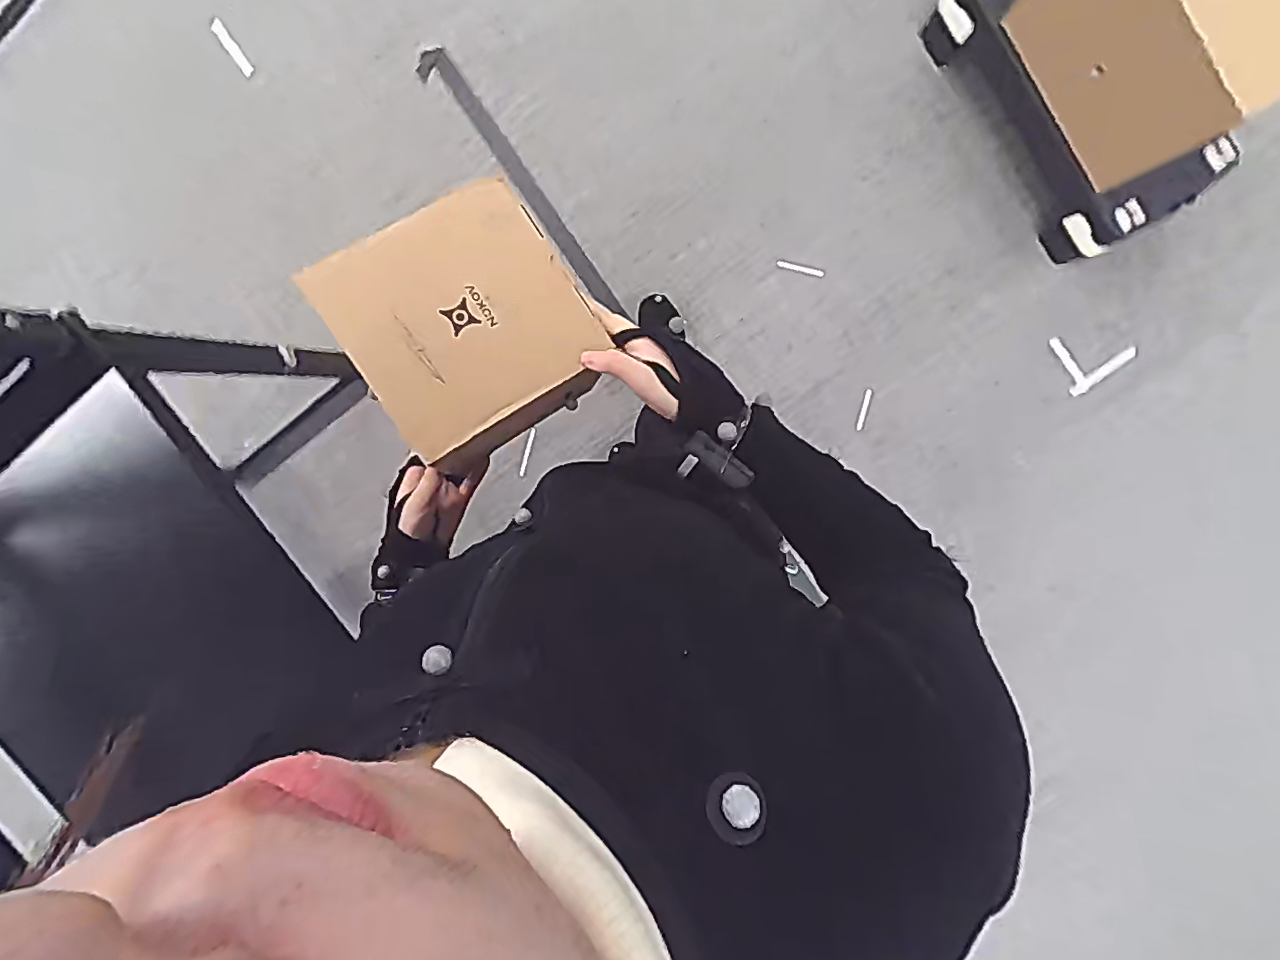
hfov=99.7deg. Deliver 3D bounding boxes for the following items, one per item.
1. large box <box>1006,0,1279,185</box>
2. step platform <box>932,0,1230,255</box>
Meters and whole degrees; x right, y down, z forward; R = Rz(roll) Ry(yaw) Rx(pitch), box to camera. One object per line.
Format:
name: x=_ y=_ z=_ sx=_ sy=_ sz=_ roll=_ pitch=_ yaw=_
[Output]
large box: x=0.949 y=-0.821 z=0.927 sx=0.320 sy=0.320 sz=0.408 roll=-35 pitch=94 yaw=8
step platform: x=0.931 y=-0.866 z=1.164 sx=0.286 sy=0.204 sz=0.684 roll=-29 pitch=94 yaw=9
